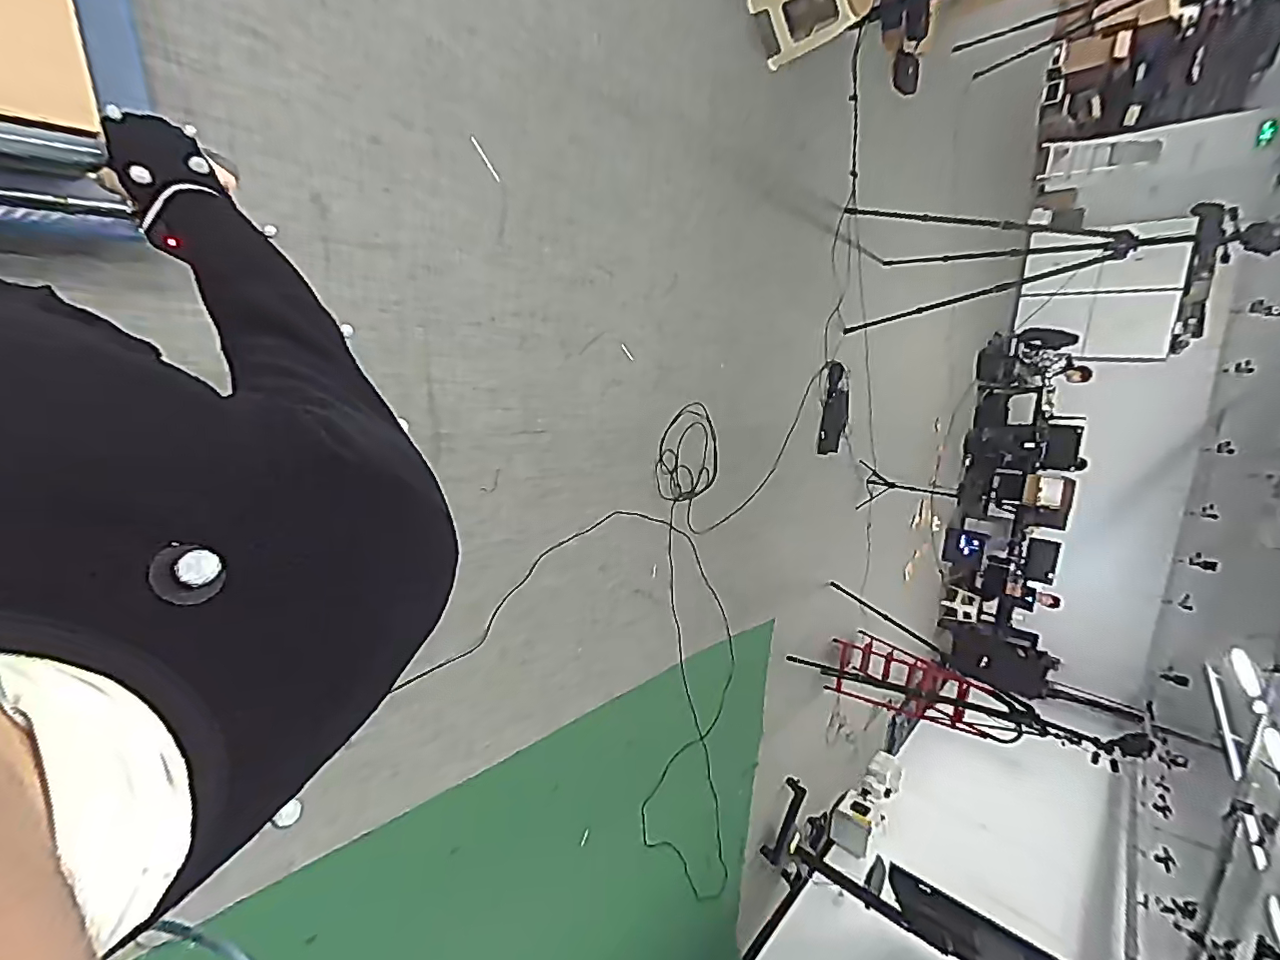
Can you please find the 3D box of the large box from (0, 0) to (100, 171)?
[{"bbox_3d":[-1.016,-0.698,0.740,0.320,0.320,0.408,-17,112,-45],"label":"large box"}]
